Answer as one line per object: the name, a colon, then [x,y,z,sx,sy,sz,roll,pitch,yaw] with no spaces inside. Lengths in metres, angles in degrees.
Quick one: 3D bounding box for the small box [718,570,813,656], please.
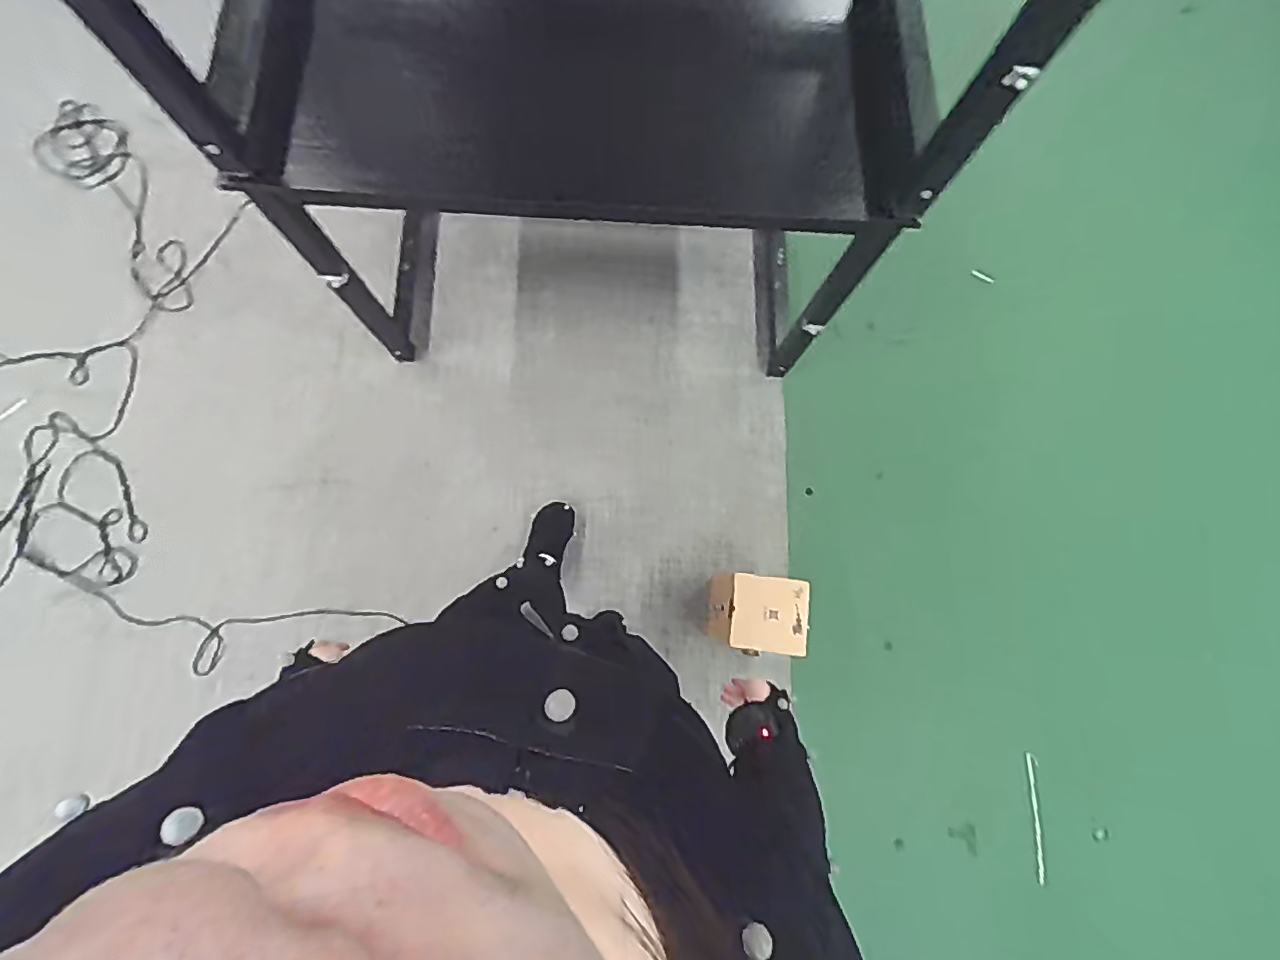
small box: [0.286,0.310,1.264,0.179,0.176,0.168,8,77,-1]
